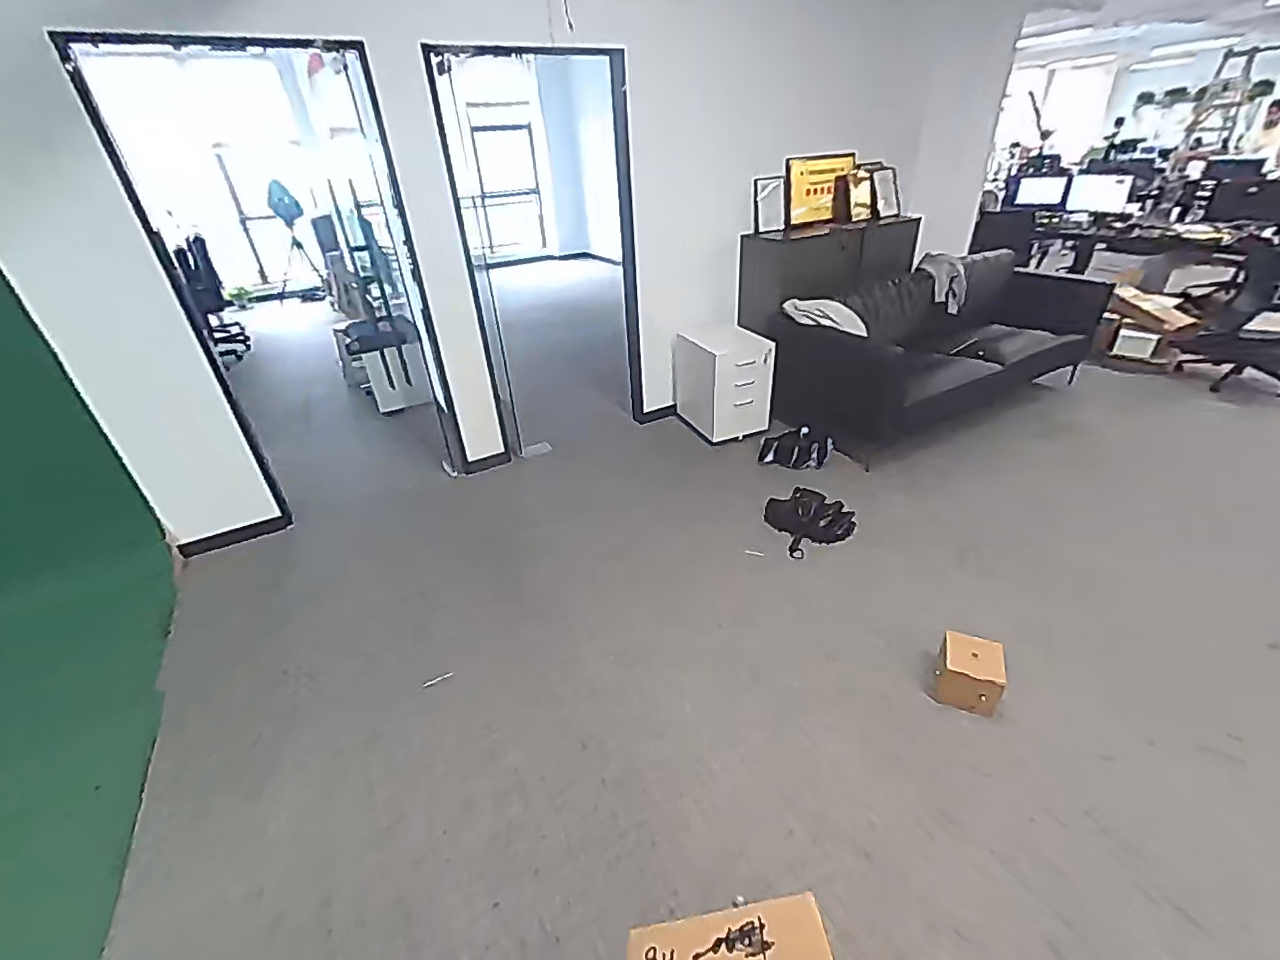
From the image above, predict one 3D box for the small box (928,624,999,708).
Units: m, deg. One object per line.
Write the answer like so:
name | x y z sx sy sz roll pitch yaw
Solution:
small box | 1.071 0.620 1.797 0.168 0.176 0.179 12 33 21
